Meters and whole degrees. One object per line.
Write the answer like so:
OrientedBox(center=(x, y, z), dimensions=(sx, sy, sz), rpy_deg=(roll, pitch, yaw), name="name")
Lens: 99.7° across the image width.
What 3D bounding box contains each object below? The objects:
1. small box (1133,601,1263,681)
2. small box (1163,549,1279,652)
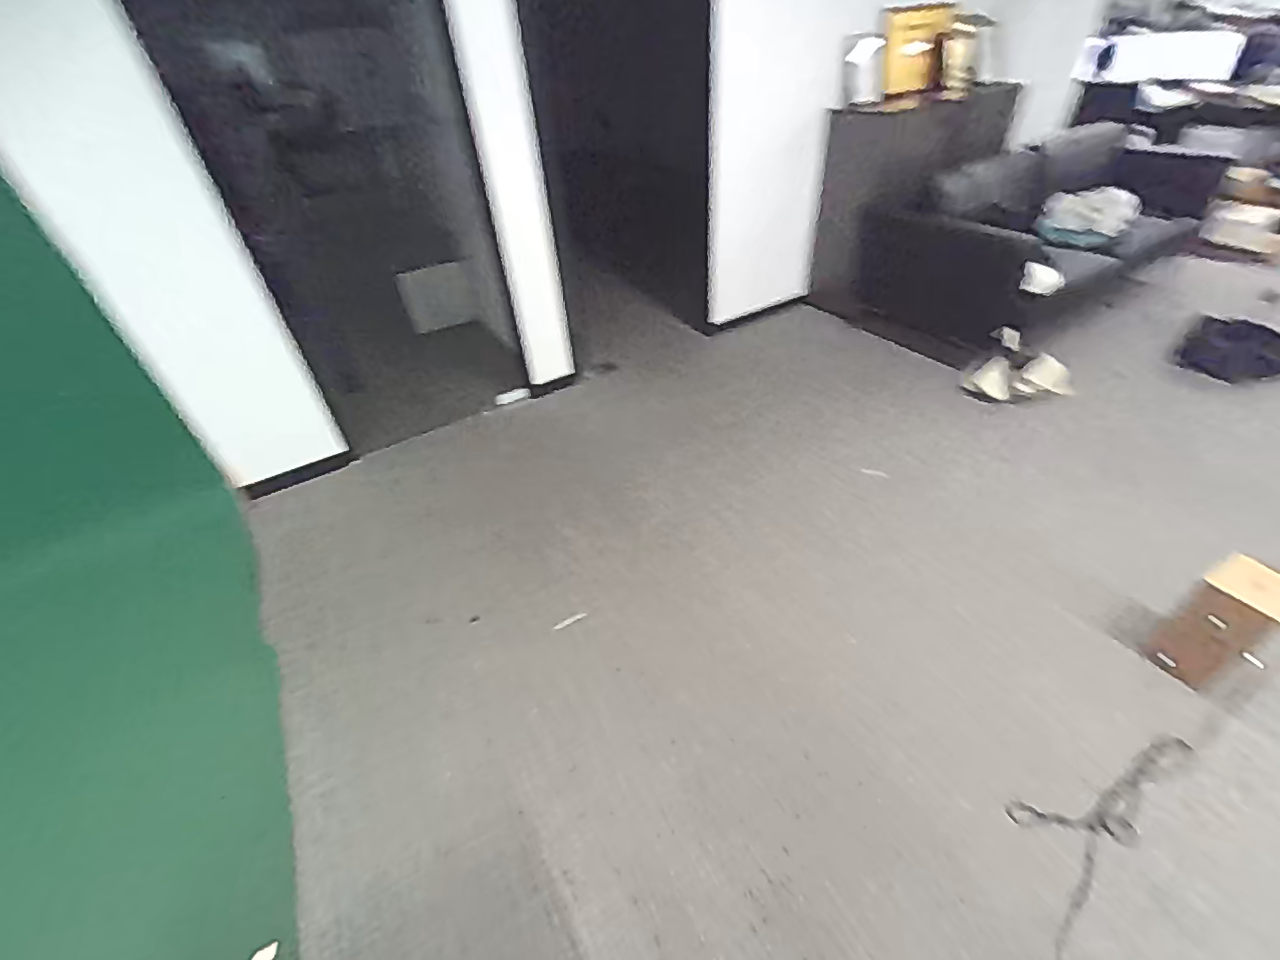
OrientedBox(center=(1.563, 0.430, 1.527), dimensions=(0.179, 0.176, 0.168), rpy_deg=(-20, 42, -17), name="small box")
OrientedBox(center=(1.549, 0.320, 1.429), dimensions=(0.179, 0.176, 0.168), rpy_deg=(-21, 42, -19), name="small box")
